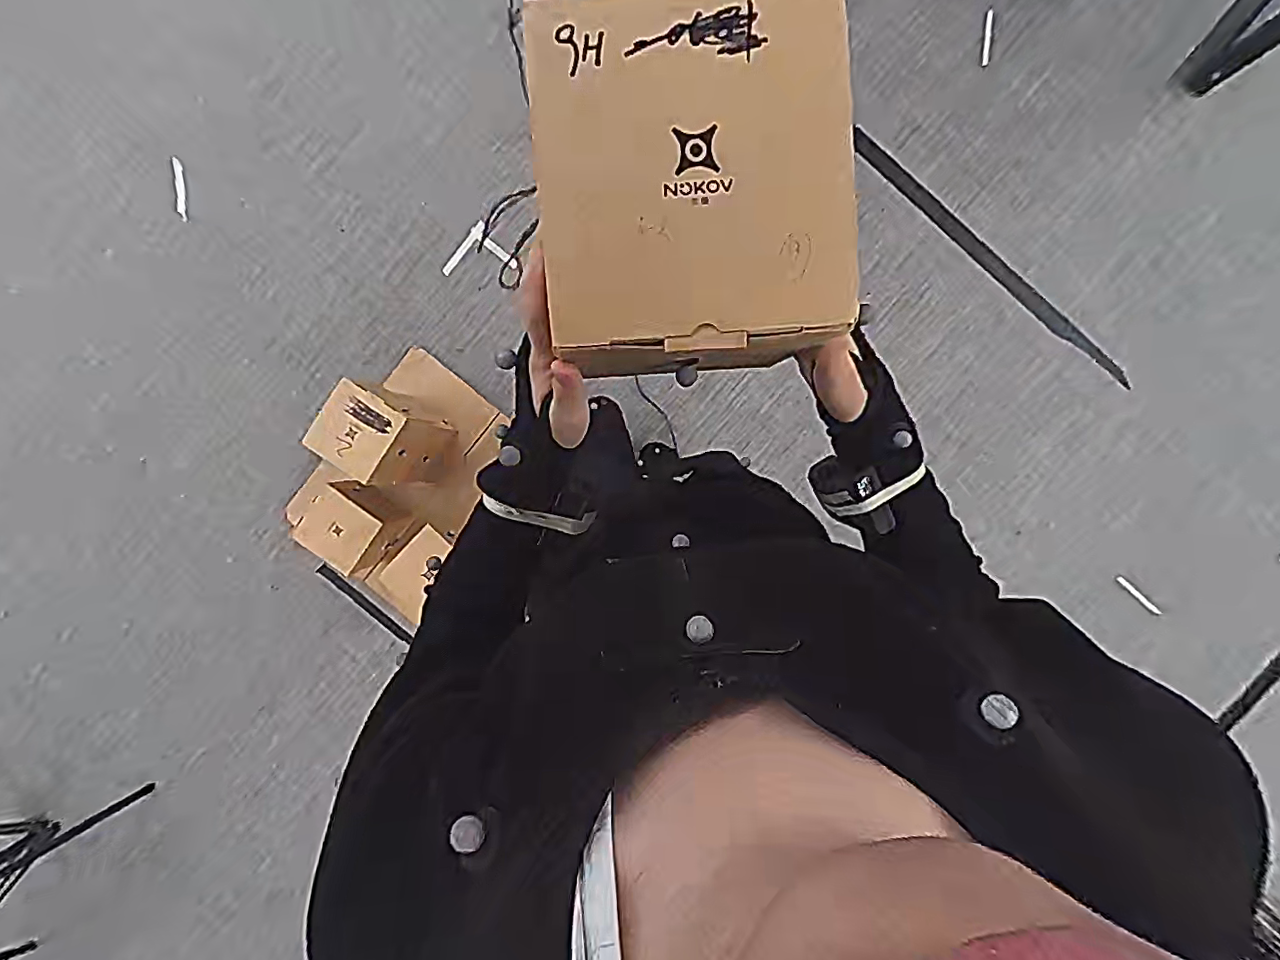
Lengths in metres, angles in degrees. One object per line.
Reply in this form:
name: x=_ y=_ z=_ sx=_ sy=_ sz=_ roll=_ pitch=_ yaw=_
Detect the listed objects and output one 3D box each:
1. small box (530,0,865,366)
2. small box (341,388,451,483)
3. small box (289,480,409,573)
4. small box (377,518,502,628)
small box: x=0.030 y=-0.169 z=0.352 sx=0.168 sy=0.176 sz=0.179 roll=-4 pitch=96 yaw=-1
small box: x=-0.613 y=-0.112 z=1.389 sx=0.168 sy=0.176 sz=0.179 roll=35 pitch=93 yaw=-1
small box: x=-0.744 y=0.112 z=1.401 sx=0.179 sy=0.176 sz=0.168 roll=34 pitch=94 yaw=-1
small box: x=-0.449 y=0.202 z=1.238 sx=0.179 sy=0.176 sz=0.168 roll=44 pitch=92 yaw=-3
